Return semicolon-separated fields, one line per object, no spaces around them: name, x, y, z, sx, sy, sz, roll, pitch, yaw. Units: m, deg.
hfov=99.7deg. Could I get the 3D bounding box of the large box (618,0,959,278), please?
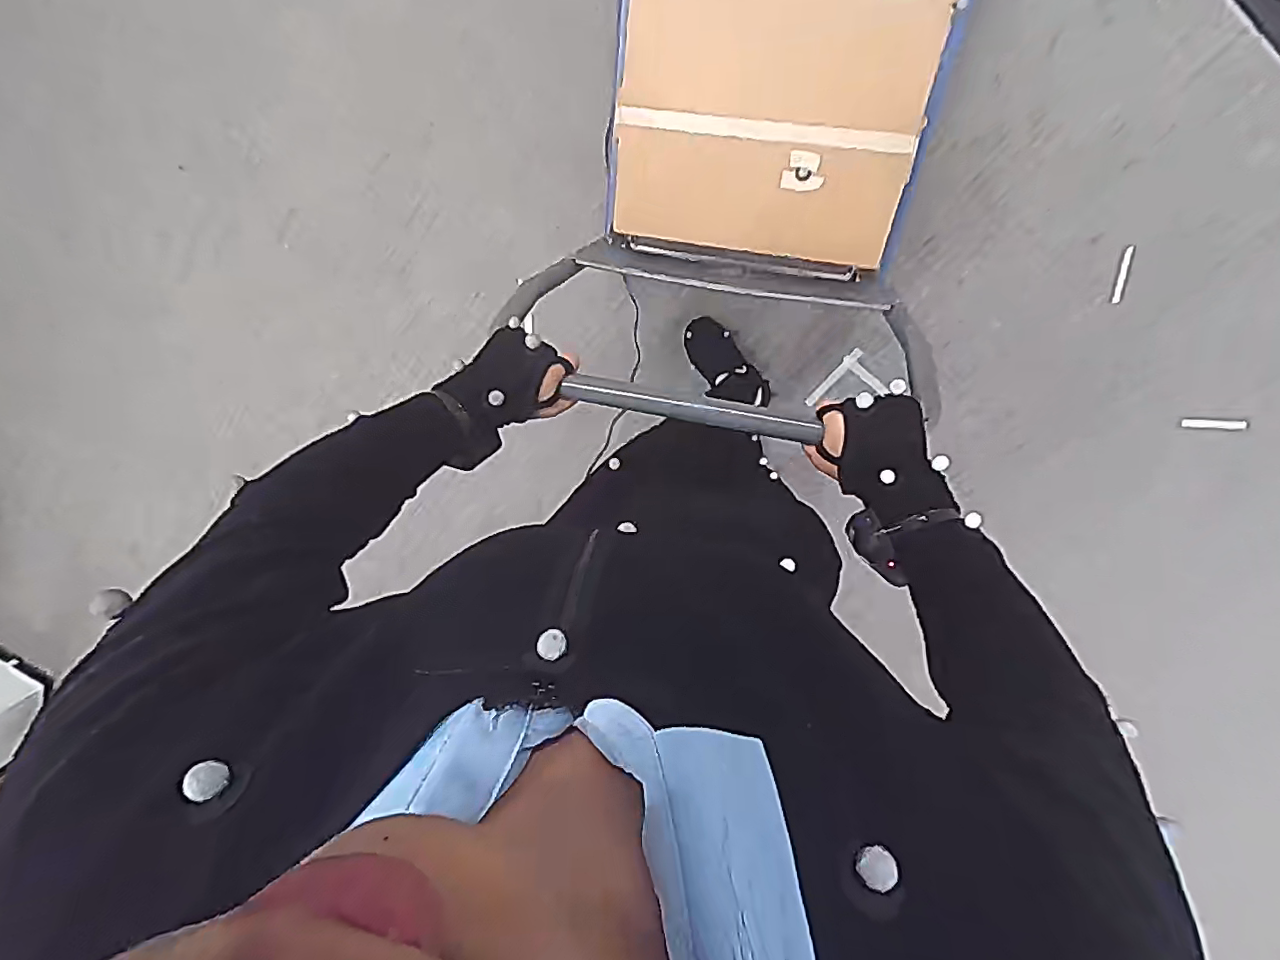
large box;0.199;-0.526;0.864;0.408;0.320;0.320;11;120;7
